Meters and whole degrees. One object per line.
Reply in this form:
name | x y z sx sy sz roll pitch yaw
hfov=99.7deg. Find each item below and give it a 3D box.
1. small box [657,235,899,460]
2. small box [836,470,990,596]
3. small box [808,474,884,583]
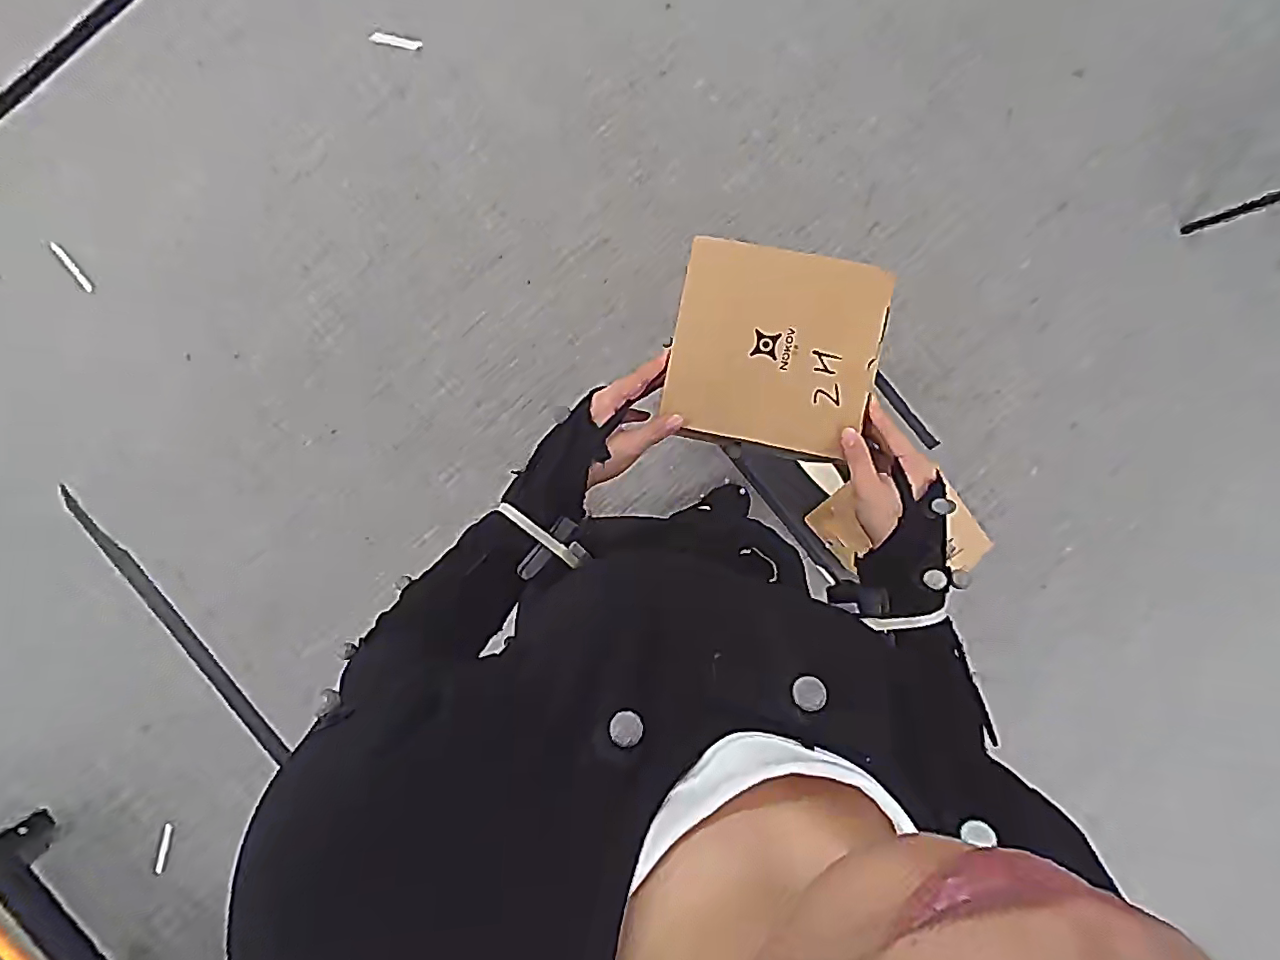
small box | 0.119 -0.115 0.536 0.179 0.176 0.168 12 94 2
small box | 0.516 0.093 1.049 0.168 0.176 0.179 -36 90 2
small box | 0.510 0.099 1.214 0.179 0.176 0.168 -41 91 2
